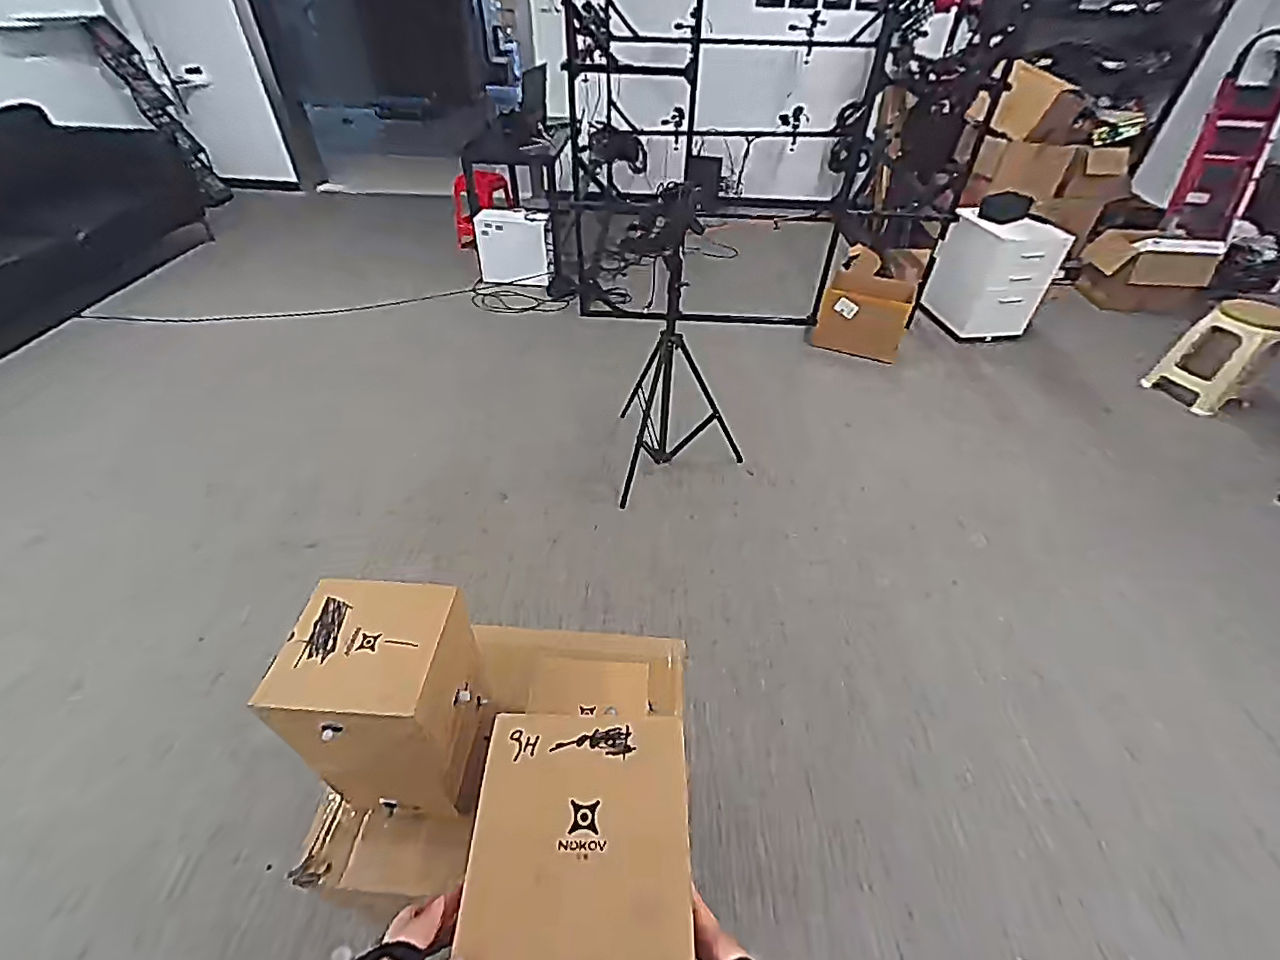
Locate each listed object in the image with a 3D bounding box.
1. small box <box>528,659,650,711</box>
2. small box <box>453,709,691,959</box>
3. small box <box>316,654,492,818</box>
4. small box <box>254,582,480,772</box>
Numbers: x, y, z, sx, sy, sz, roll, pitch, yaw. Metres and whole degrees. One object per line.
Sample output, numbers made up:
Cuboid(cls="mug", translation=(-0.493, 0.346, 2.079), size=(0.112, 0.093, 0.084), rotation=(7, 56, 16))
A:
Cuboid(cls="small box", translation=(-0.072, 0.382, 0.777), size=(0.168, 0.176, 0.179), rotation=(2, 43, 3))
Cuboid(cls="small box", translation=(-0.046, 0.321, 0.477), size=(0.168, 0.176, 0.179), rotation=(0, 47, -1))
Cuboid(cls="small box", translation=(-0.324, 0.366, 0.790), size=(0.168, 0.176, 0.179), rotation=(3, 44, 2))
Cuboid(cls="small box", translation=(-0.318, 0.248, 0.677), size=(0.179, 0.176, 0.168), rotation=(3, 43, 1))
